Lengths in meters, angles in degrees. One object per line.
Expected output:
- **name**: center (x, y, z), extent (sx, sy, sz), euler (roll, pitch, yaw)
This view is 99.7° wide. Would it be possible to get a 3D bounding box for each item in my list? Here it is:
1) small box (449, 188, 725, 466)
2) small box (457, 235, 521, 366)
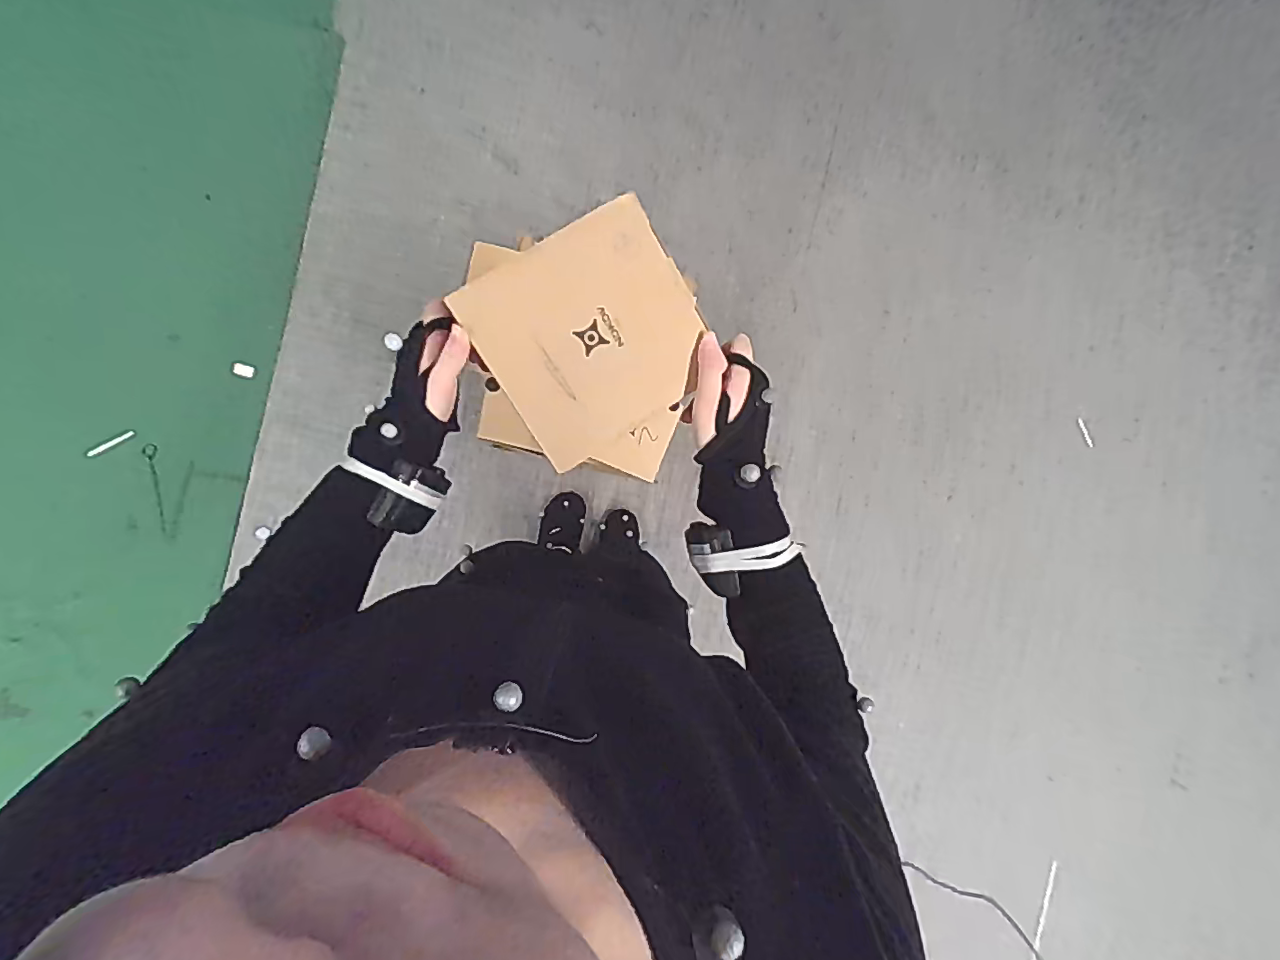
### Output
- **small box**: center (-0.052, -0.135, 0.516), extent (0.179, 0.176, 0.168), euler (-31, 103, -4)
- **small box**: center (-0.198, -0.284, 0.933), extent (0.168, 0.176, 0.179), euler (13, 90, -5)
